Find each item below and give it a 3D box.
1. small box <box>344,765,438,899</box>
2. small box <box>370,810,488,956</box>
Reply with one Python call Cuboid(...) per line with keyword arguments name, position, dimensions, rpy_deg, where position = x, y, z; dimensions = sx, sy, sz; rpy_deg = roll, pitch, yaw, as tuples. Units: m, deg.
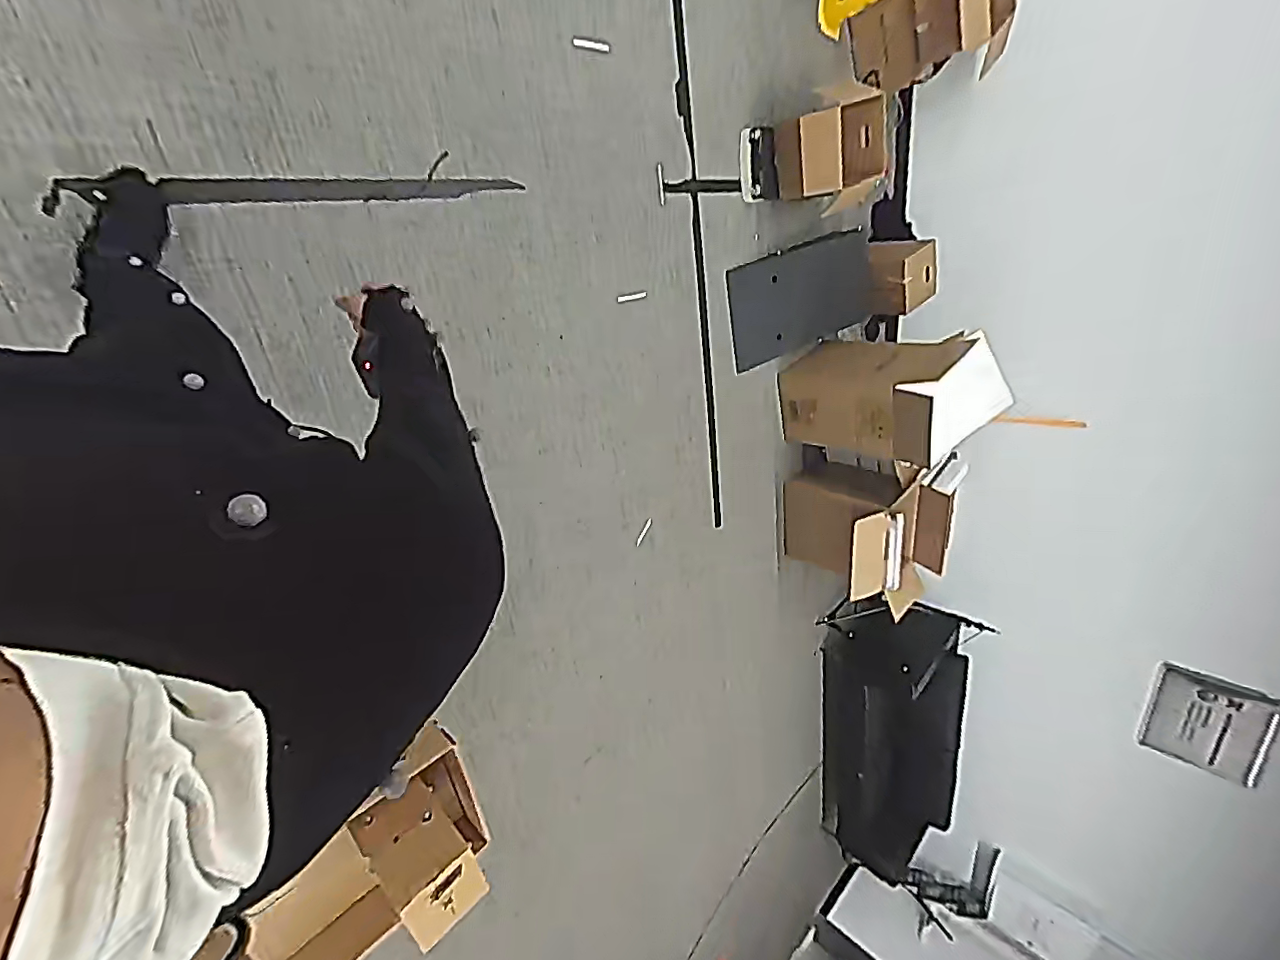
Cuboid(name="small box", position=(-0.592, 0.847, 1.317), dimensions=(0.179, 0.176, 0.168), rpy_deg=(-32, 124, -36))
Cuboid(name="small box", position=(-0.474, 0.885, 1.210), dimensions=(0.168, 0.176, 0.179), rpy_deg=(-31, 124, -36))
